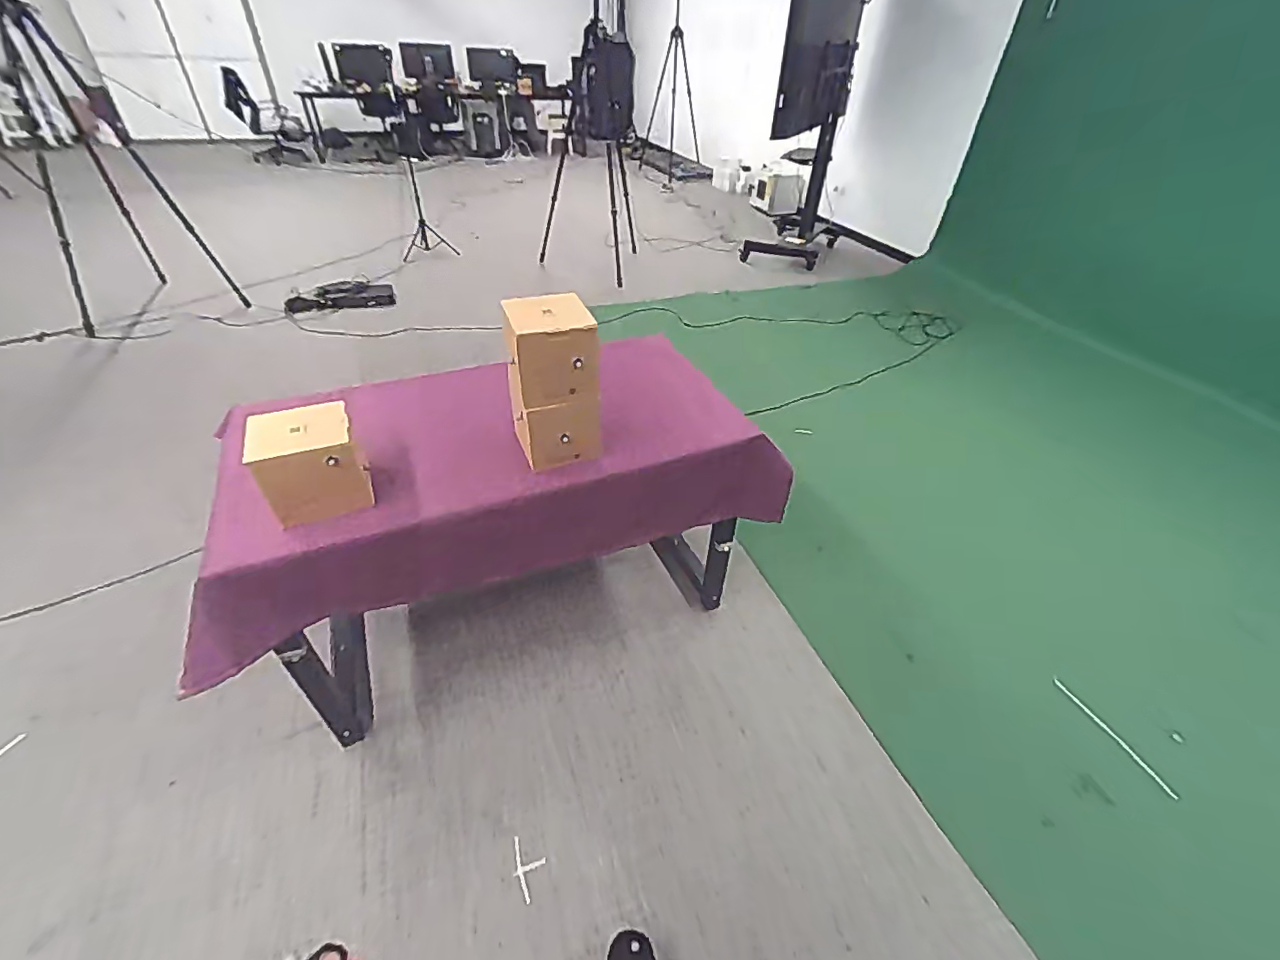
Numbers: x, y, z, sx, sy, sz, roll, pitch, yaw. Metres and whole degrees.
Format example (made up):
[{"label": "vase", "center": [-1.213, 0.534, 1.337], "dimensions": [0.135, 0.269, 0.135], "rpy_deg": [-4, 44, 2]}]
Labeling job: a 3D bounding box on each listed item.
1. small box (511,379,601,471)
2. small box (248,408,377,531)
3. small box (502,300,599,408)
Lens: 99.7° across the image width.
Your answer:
[{"label": "small box", "center": [-0.191, -0.136, 1.255], "dimensions": [0.168, 0.176, 0.179], "rpy_deg": [-13, 42, -19]}, {"label": "small box", "center": [-0.654, -0.020, 1.095], "dimensions": [0.179, 0.176, 0.168], "rpy_deg": [-15, 42, -21]}, {"label": "small box", "center": [-0.188, -0.264, 1.154], "dimensions": [0.168, 0.176, 0.179], "rpy_deg": [-12, 41, -17]}]
